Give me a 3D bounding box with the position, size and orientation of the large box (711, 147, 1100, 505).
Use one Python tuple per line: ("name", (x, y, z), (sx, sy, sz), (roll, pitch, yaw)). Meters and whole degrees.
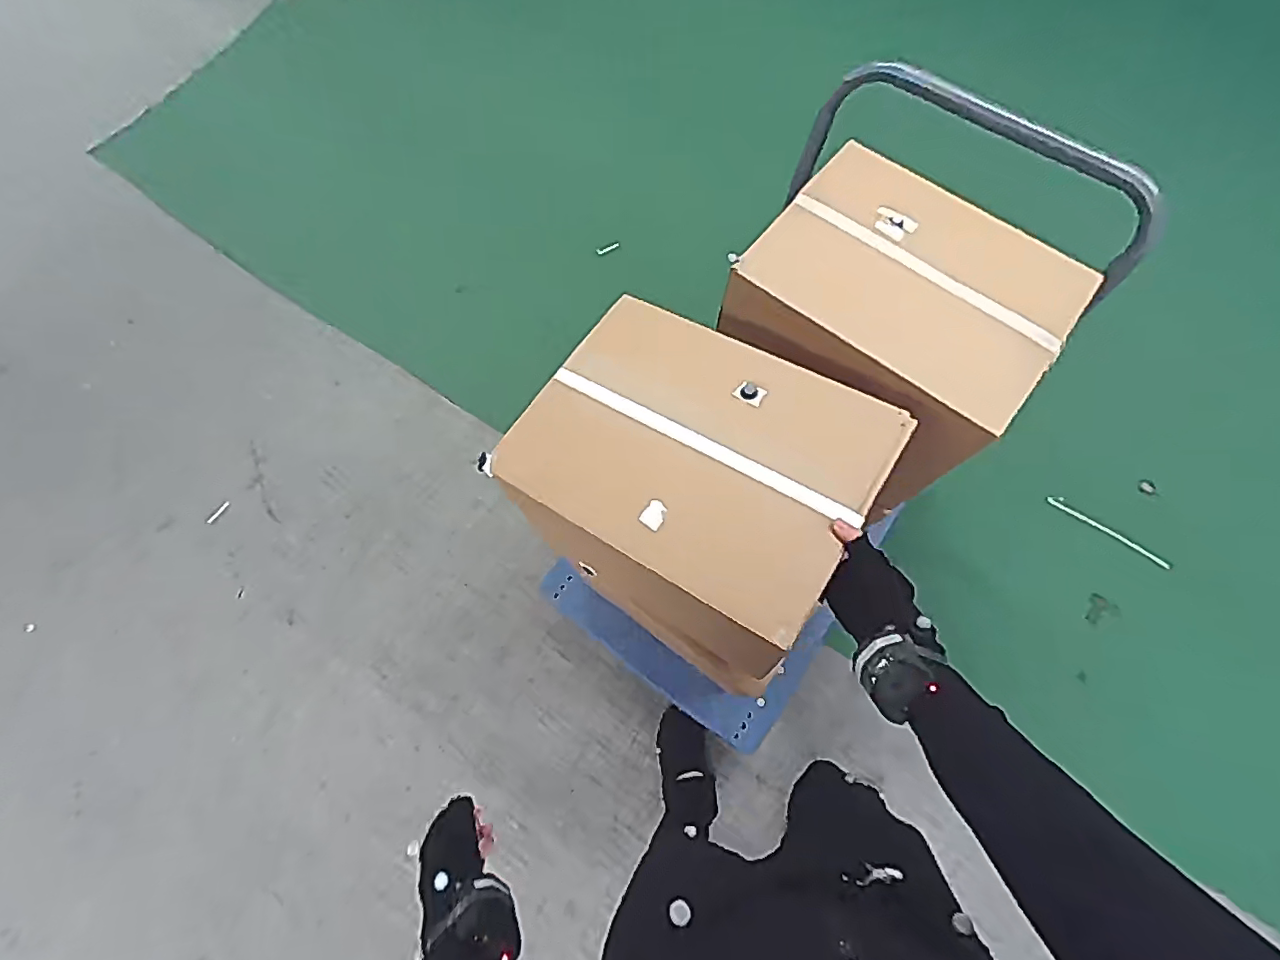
("large box", (0.372, -0.225, 0.868), (0.408, 0.320, 0.320), (38, 75, 14))
